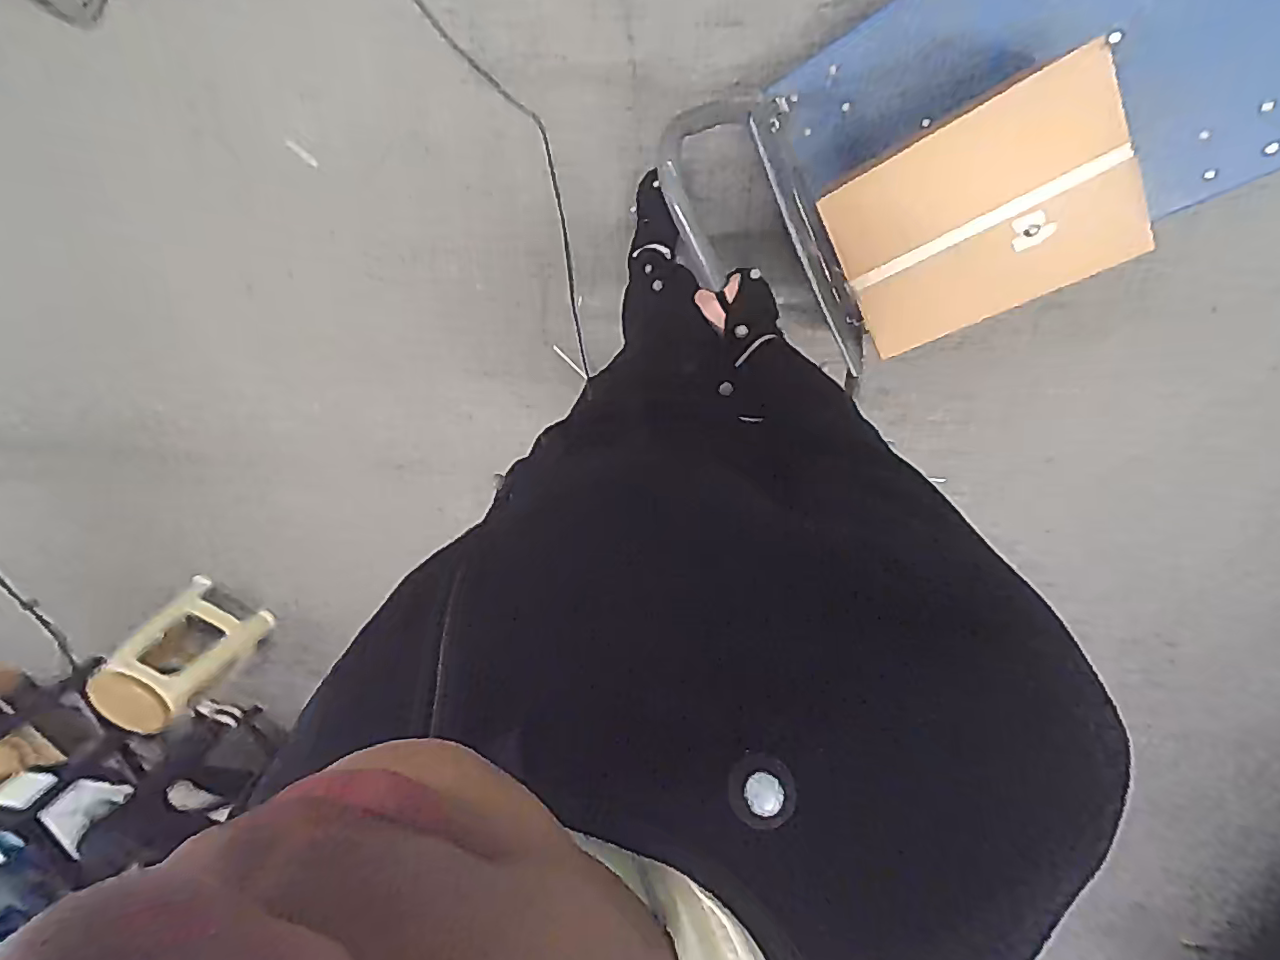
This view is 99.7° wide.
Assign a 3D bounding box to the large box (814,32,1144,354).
[{"bbox_3d":[0.573,-0.491,0.989,0.408,0.320,0.320,-20,112,29],"label":"large box"}]
